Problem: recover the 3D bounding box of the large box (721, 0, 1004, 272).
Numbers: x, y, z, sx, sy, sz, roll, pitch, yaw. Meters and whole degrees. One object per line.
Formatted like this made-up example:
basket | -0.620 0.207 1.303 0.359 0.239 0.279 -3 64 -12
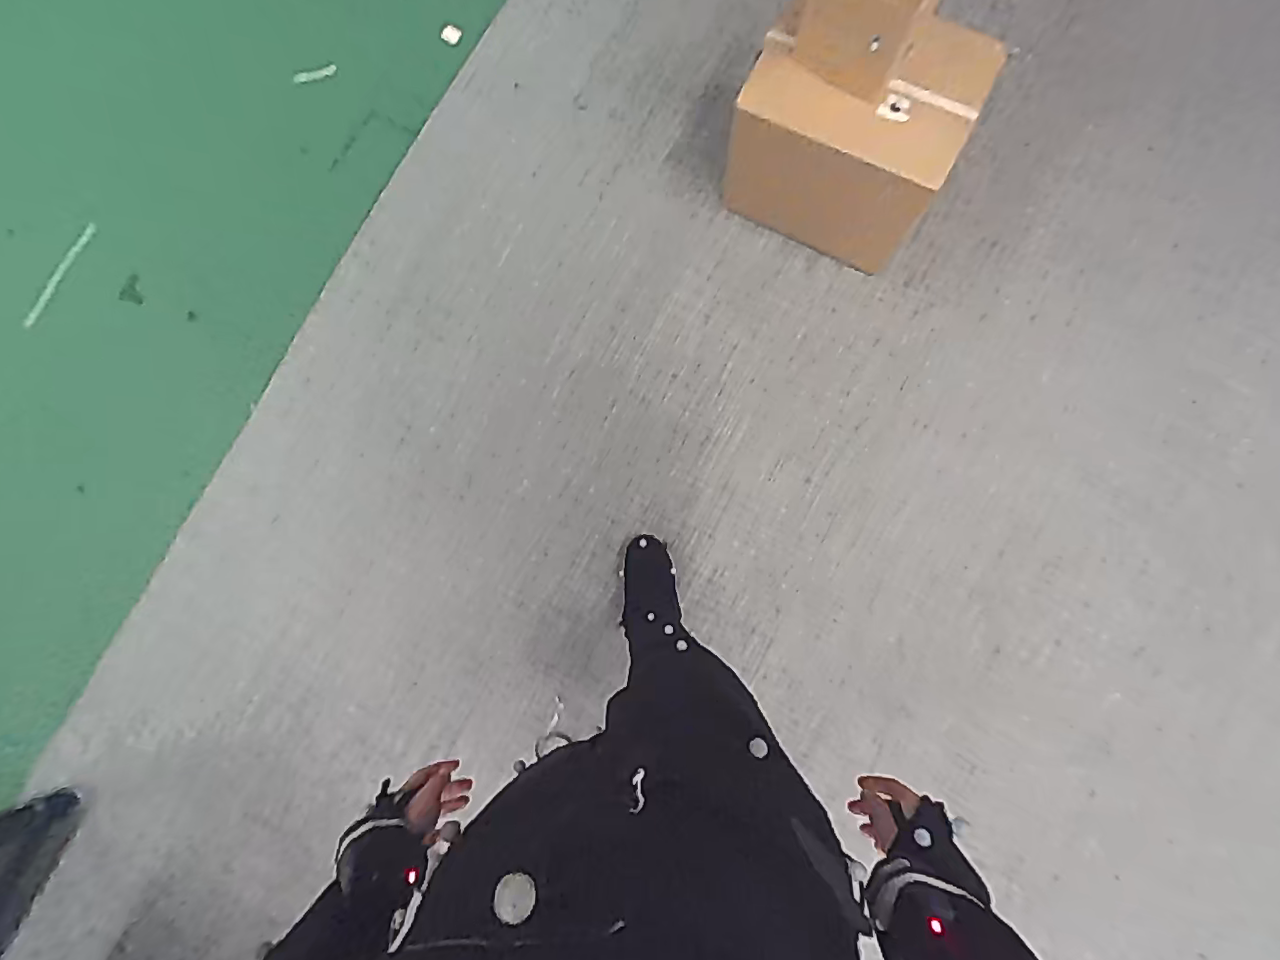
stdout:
large box | 0.425 -0.713 1.133 0.408 0.320 0.320 27 87 5
